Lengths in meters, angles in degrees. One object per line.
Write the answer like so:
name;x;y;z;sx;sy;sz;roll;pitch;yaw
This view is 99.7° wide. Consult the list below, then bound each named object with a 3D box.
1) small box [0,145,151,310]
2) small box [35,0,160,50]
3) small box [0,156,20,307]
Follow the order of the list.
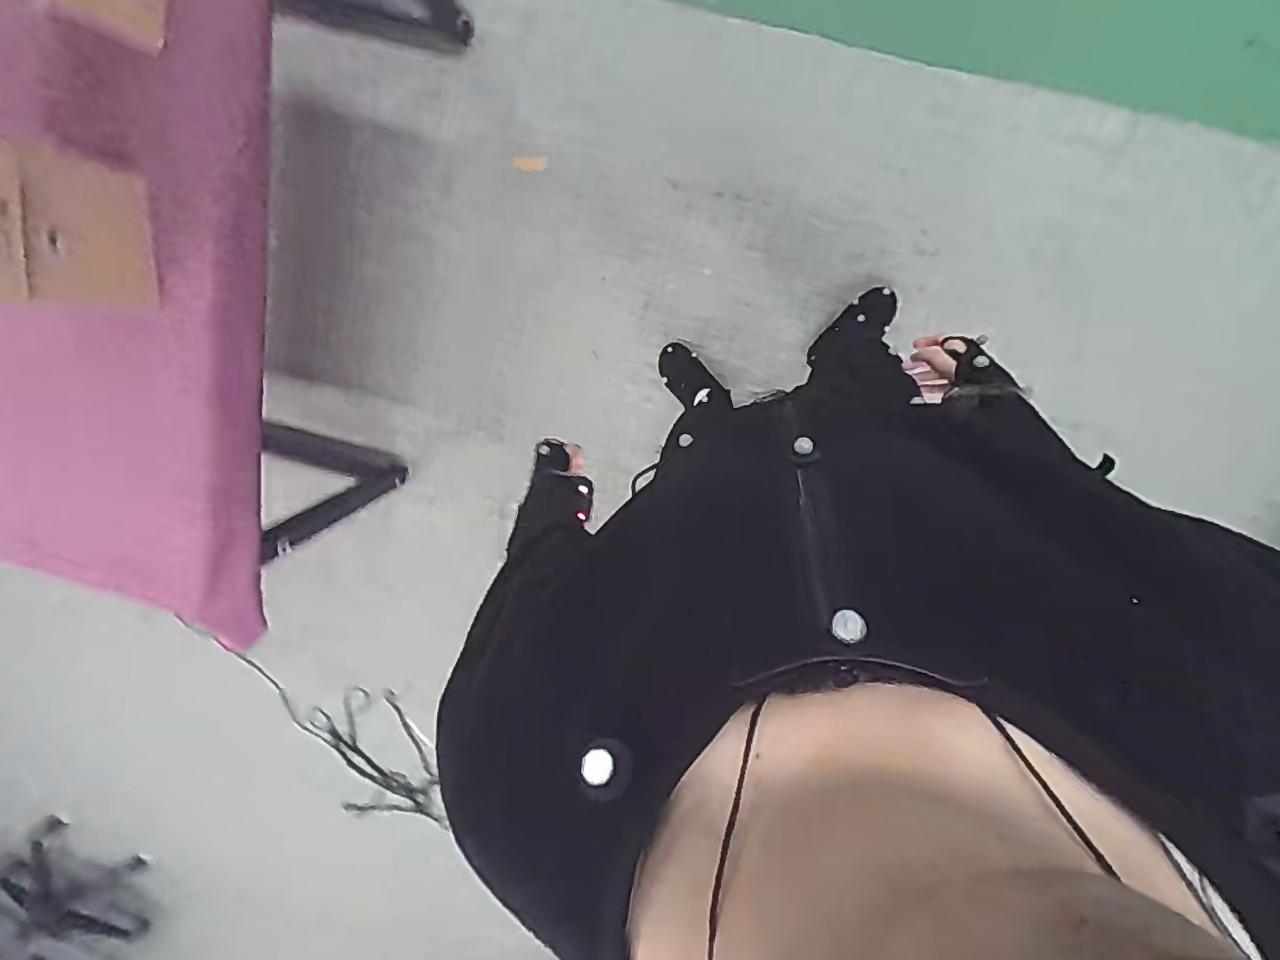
small box;-0.764;-0.311;0.673;0.168;0.176;0.179;9;107;3
small box;-0.652;-0.615;0.570;0.168;0.176;0.179;24;109;-1
small box;-0.771;-0.266;0.514;0.179;0.176;0.168;16;108;0
